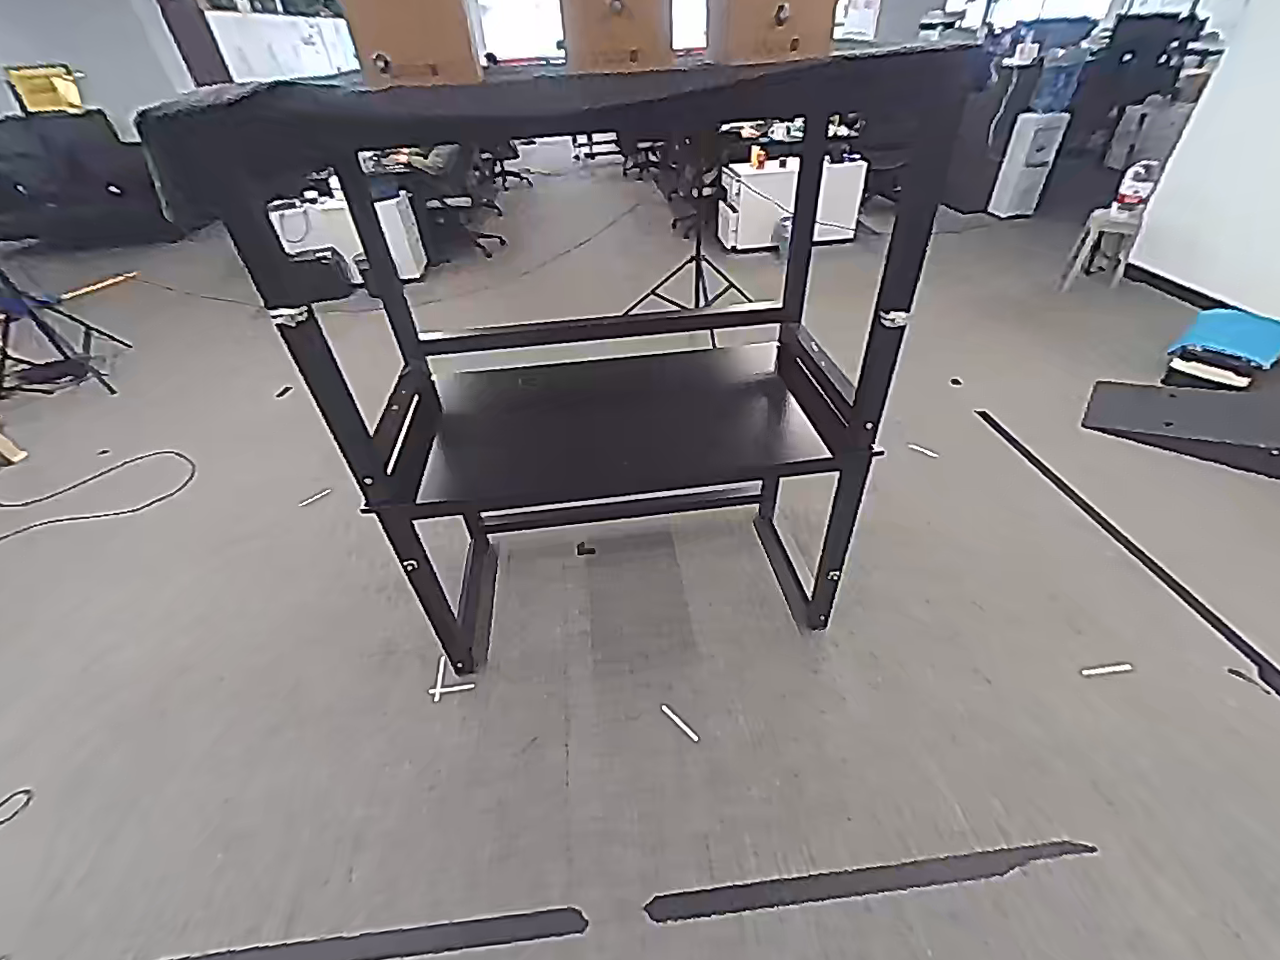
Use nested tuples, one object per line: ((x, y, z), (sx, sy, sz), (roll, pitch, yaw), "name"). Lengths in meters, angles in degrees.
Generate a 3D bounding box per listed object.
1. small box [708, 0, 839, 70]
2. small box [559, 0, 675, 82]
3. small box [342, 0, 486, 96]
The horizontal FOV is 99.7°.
((0.200, -0.745, 0.836), (0.168, 0.176, 0.179), (-7, 39, -1), "small box")
((-0.036, -0.722, 0.830), (0.168, 0.176, 0.179), (-4, 39, -1), "small box")
((-0.338, -0.693, 0.820), (0.168, 0.176, 0.179), (-9, 38, -6), "small box")
